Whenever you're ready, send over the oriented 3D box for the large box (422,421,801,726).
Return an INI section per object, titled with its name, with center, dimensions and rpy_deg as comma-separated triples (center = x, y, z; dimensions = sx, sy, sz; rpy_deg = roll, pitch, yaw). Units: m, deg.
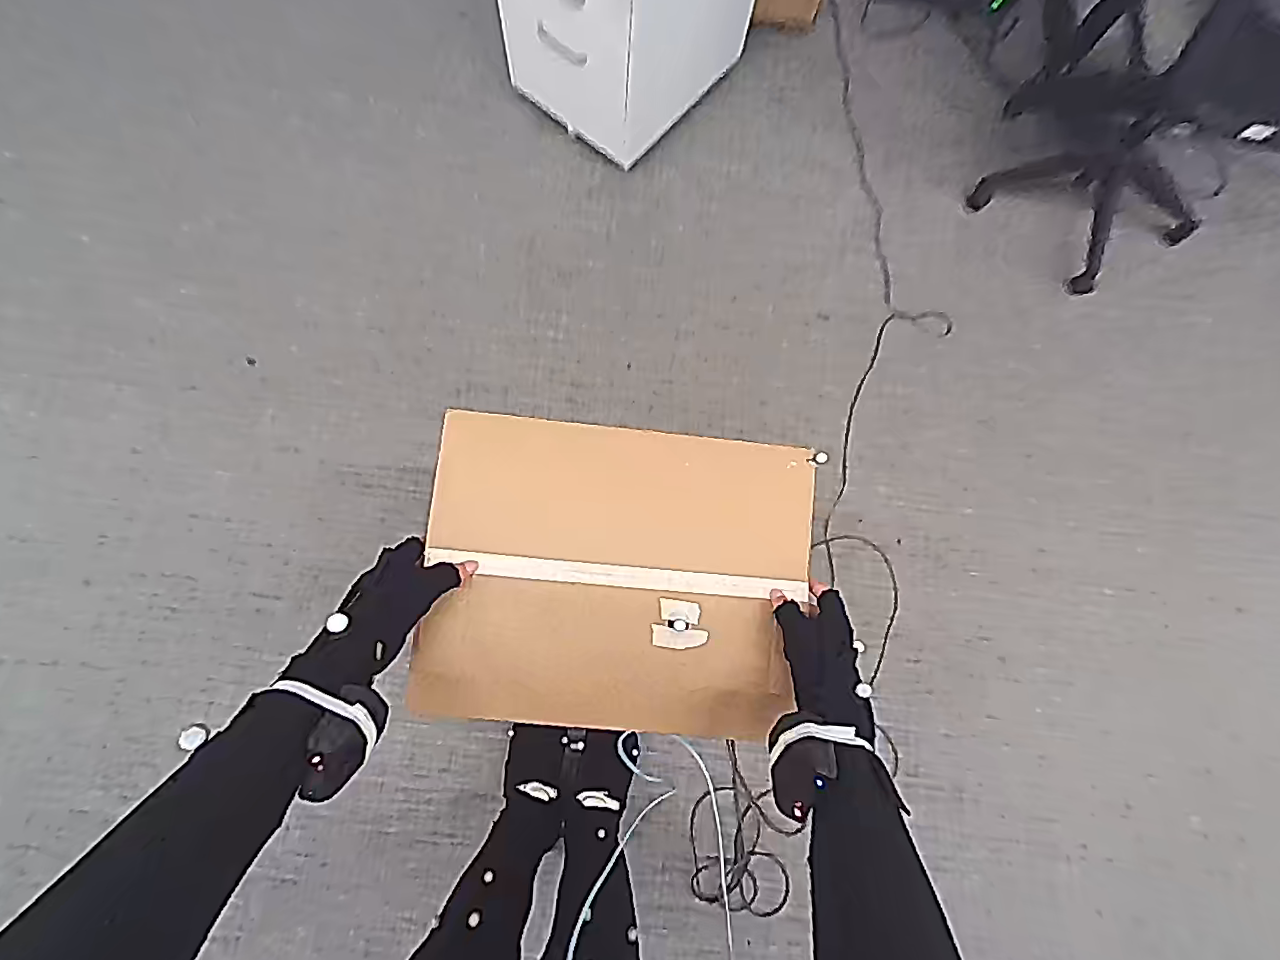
[large box]
center = -0.034, 0.121, 0.742
dimensions = 0.408, 0.320, 0.320
rpy_deg = 6, 83, -4
